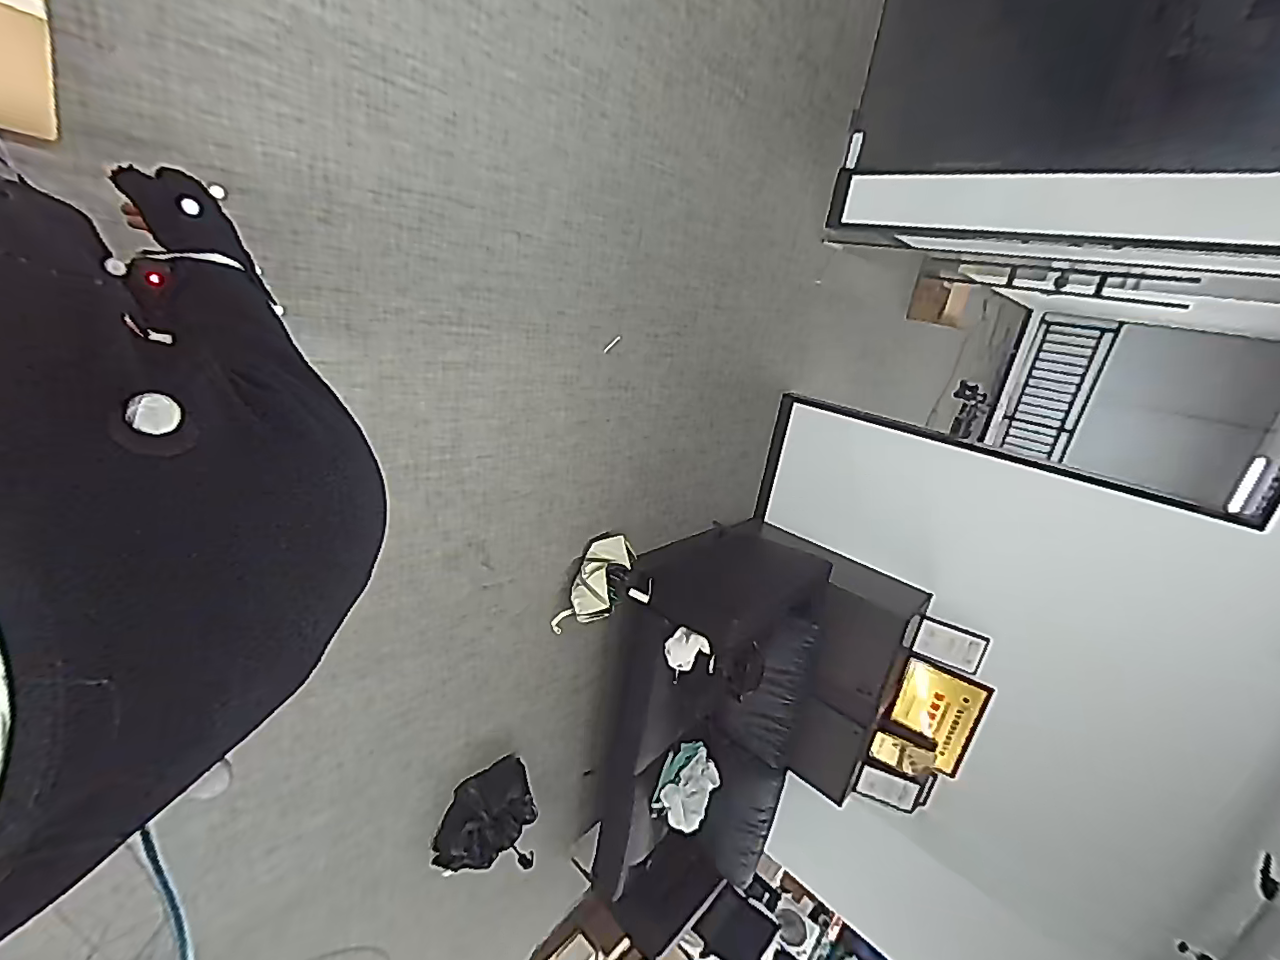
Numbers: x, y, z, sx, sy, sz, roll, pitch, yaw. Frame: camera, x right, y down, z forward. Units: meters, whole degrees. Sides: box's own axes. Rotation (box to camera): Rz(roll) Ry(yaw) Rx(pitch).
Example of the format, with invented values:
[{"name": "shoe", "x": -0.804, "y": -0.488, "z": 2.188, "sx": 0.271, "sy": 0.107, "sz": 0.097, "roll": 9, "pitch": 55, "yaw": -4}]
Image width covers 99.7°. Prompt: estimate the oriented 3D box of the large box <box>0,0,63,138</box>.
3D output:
[{"name": "large box", "x": -1.016, "y": -0.661, "z": 0.652, "sx": 0.408, "sy": 0.320, "sz": 0.320, "roll": -7, "pitch": 116, "yaw": -48}]
